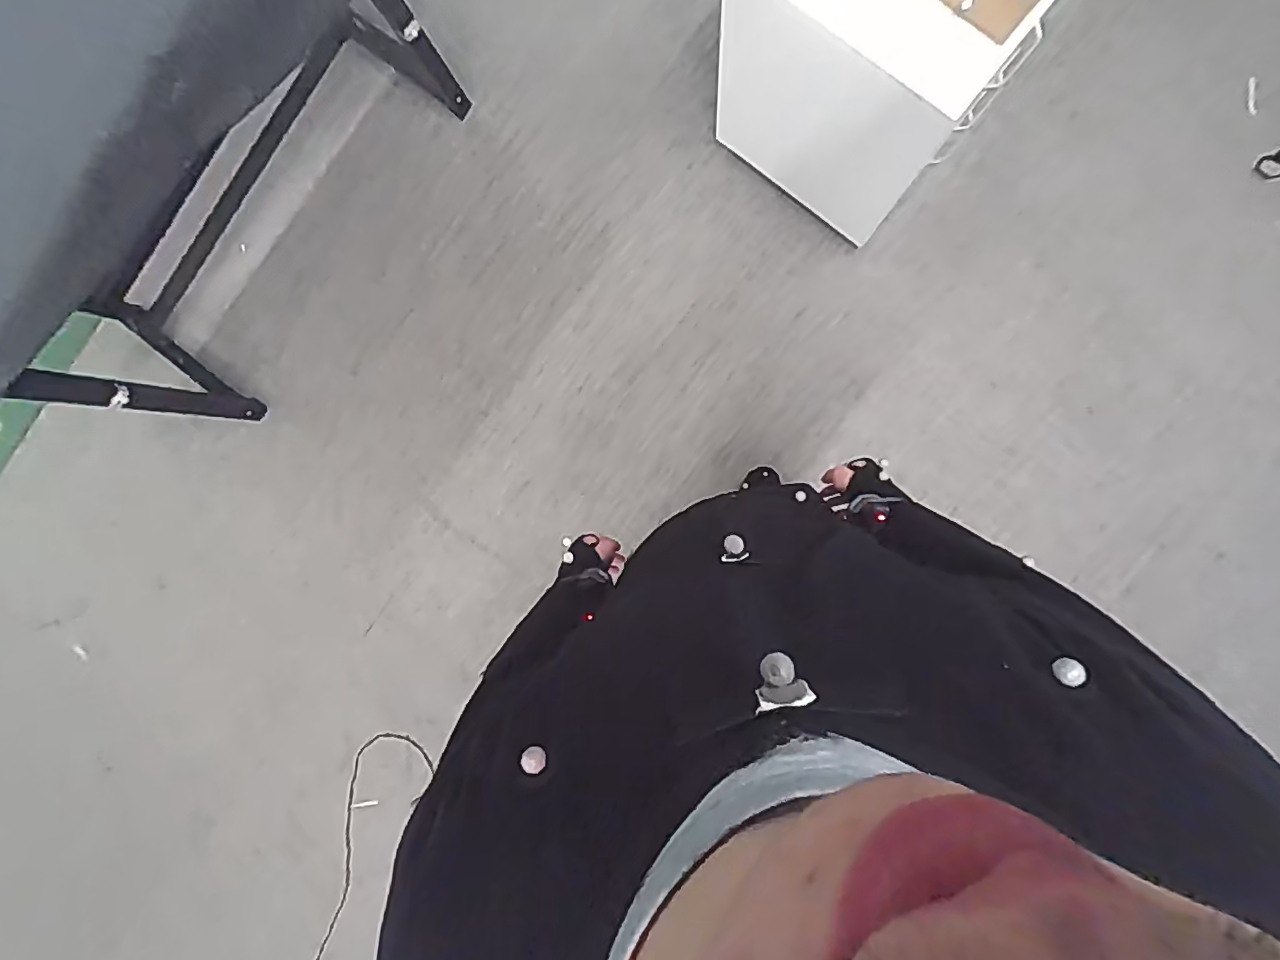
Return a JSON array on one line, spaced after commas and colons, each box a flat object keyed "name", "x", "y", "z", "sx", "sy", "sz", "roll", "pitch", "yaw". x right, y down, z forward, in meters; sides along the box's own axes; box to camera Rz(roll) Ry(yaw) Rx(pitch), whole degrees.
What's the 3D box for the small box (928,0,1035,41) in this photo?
[{"name": "small box", "x": 0.572, "y": -0.833, "z": 0.826, "sx": 0.179, "sy": 0.176, "sz": 0.168, "roll": 41, "pitch": 94, "yaw": 3}]
